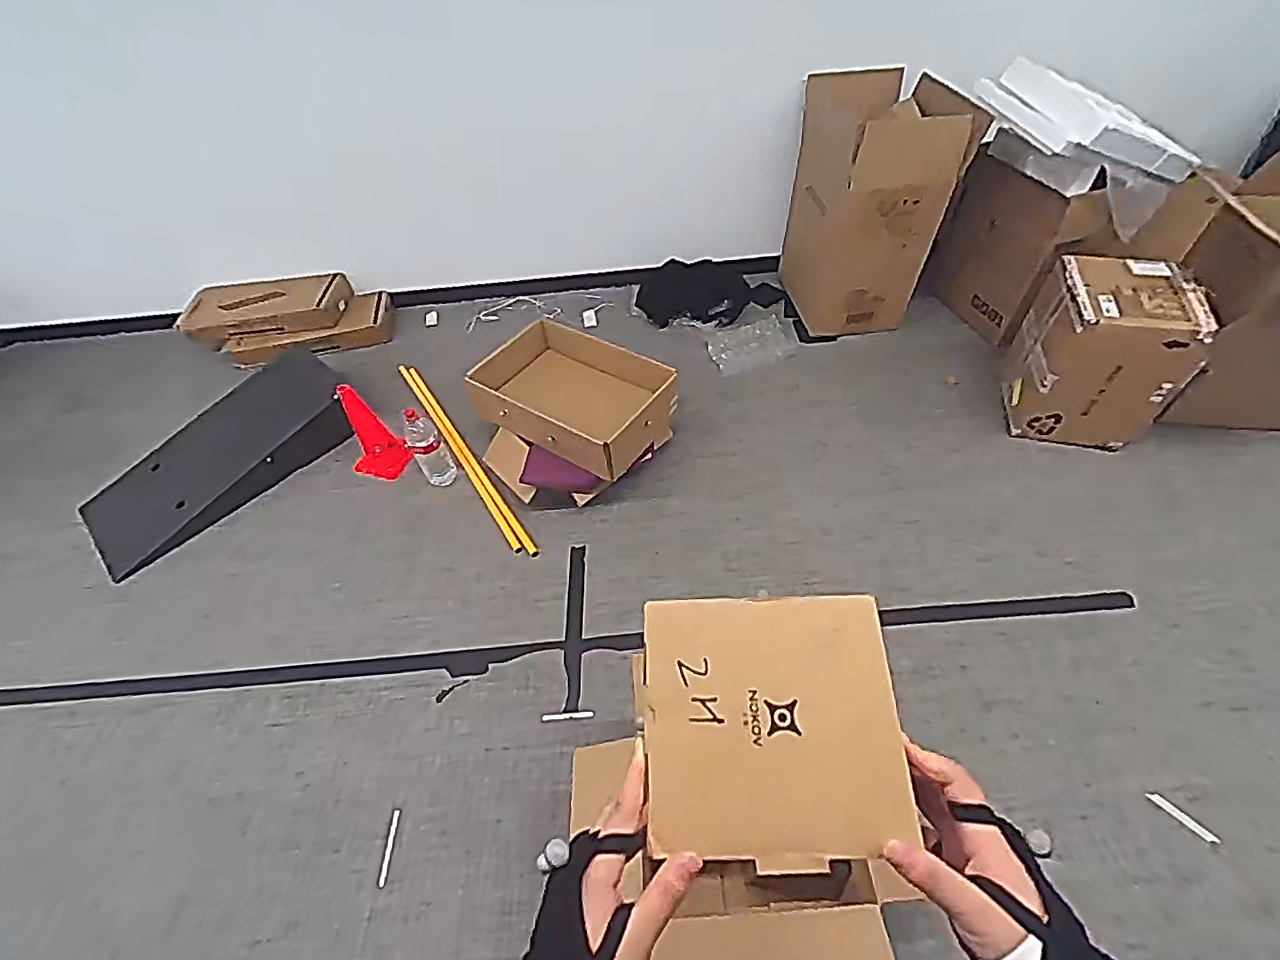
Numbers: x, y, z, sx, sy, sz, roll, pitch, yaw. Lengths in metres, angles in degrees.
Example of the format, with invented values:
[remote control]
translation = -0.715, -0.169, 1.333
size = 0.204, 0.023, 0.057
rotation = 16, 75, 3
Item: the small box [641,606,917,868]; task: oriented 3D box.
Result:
[small box]
translation = 0.092, 0.203, 0.446
size = 0.179, 0.176, 0.168
rotation = -2, 64, 4
